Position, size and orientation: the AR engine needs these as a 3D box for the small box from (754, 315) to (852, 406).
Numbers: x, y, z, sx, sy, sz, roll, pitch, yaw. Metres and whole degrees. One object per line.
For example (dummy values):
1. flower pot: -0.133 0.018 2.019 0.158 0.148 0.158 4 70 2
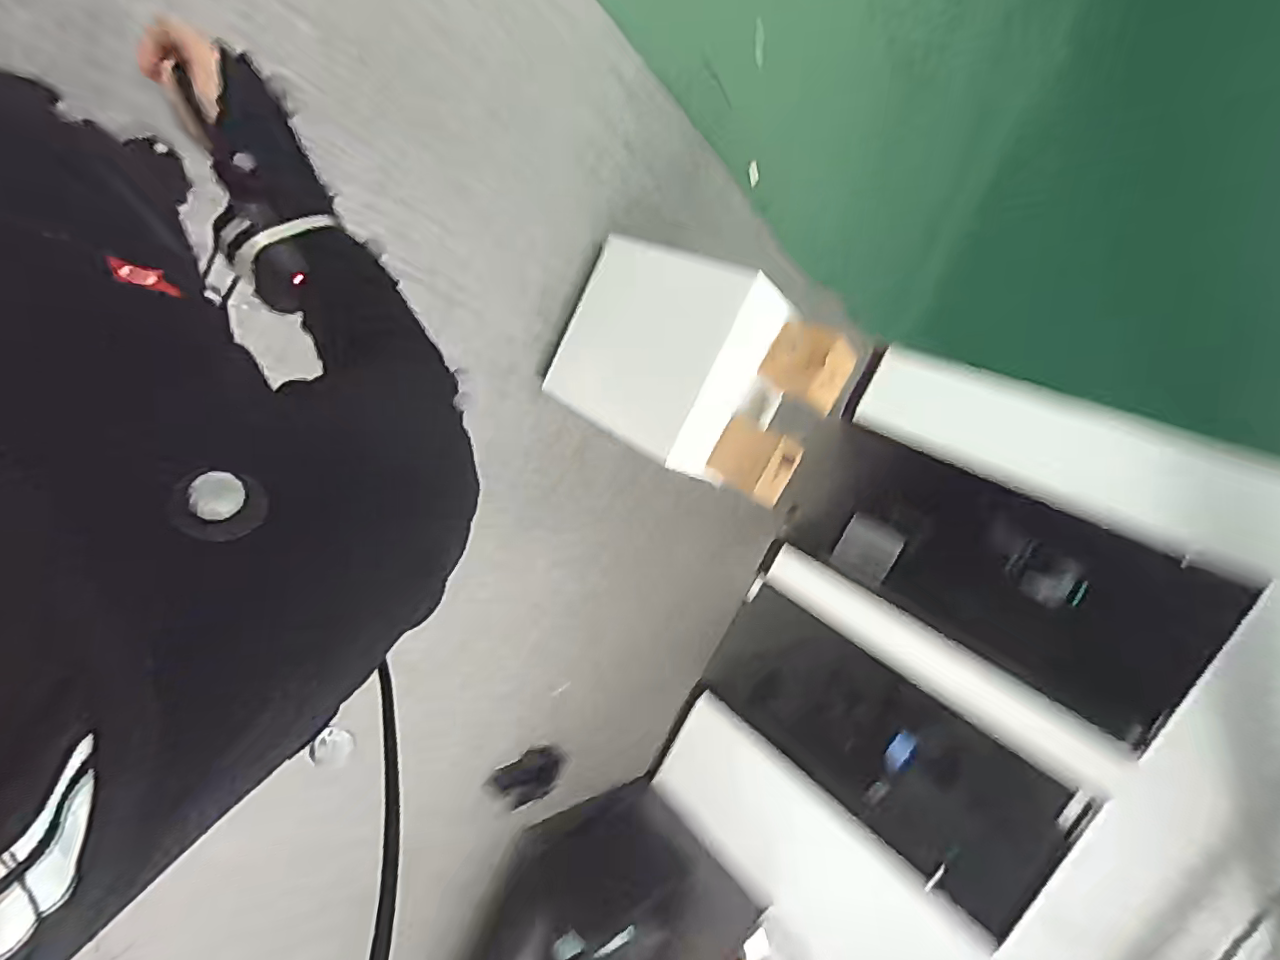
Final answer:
1. small box: 0.444 -0.328 1.476 0.179 0.176 0.168 19 102 -53
